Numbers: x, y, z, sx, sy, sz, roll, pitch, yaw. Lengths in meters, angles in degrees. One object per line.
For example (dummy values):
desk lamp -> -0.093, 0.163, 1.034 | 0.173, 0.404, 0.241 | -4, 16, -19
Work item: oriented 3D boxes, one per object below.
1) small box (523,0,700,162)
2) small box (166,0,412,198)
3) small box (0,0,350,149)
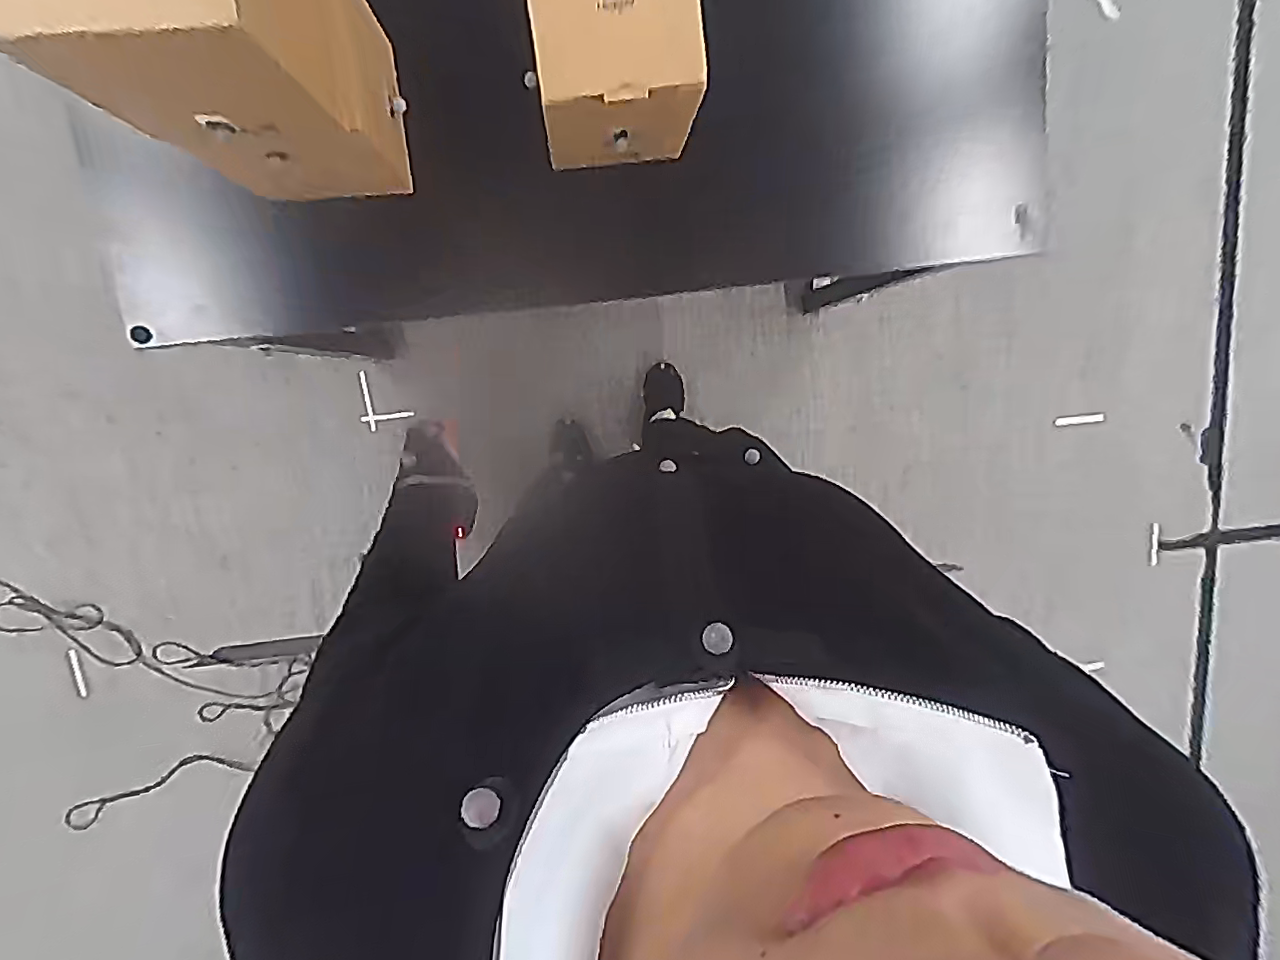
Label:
small box -> -0.035, -0.474, 0.596 | 0.168, 0.176, 0.179 | -8, 100, -4
small box -> -0.366, -0.415, 0.573 | 0.179, 0.176, 0.168 | -6, 100, -5
small box -> -0.353, -0.387, 0.414 | 0.168, 0.176, 0.179 | -7, 101, -3
